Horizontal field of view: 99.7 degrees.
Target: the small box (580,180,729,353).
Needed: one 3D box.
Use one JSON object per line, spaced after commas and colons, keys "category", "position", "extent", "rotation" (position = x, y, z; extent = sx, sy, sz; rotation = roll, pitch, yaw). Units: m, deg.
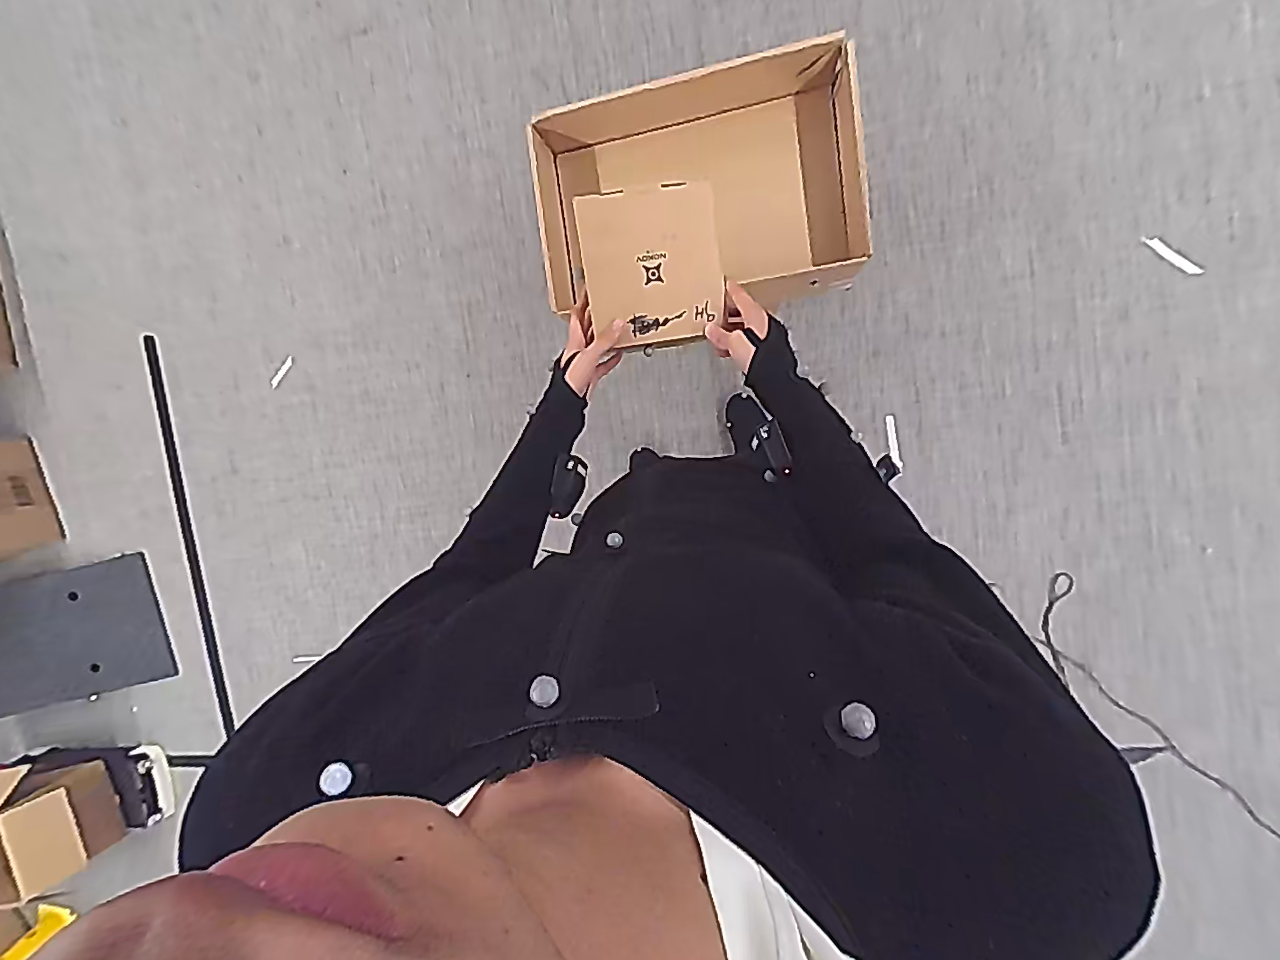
{"category": "small box", "position": [0.012, -0.271, 0.721], "extent": [0.168, 0.176, 0.179], "rotation": [-8, 102, -2]}
